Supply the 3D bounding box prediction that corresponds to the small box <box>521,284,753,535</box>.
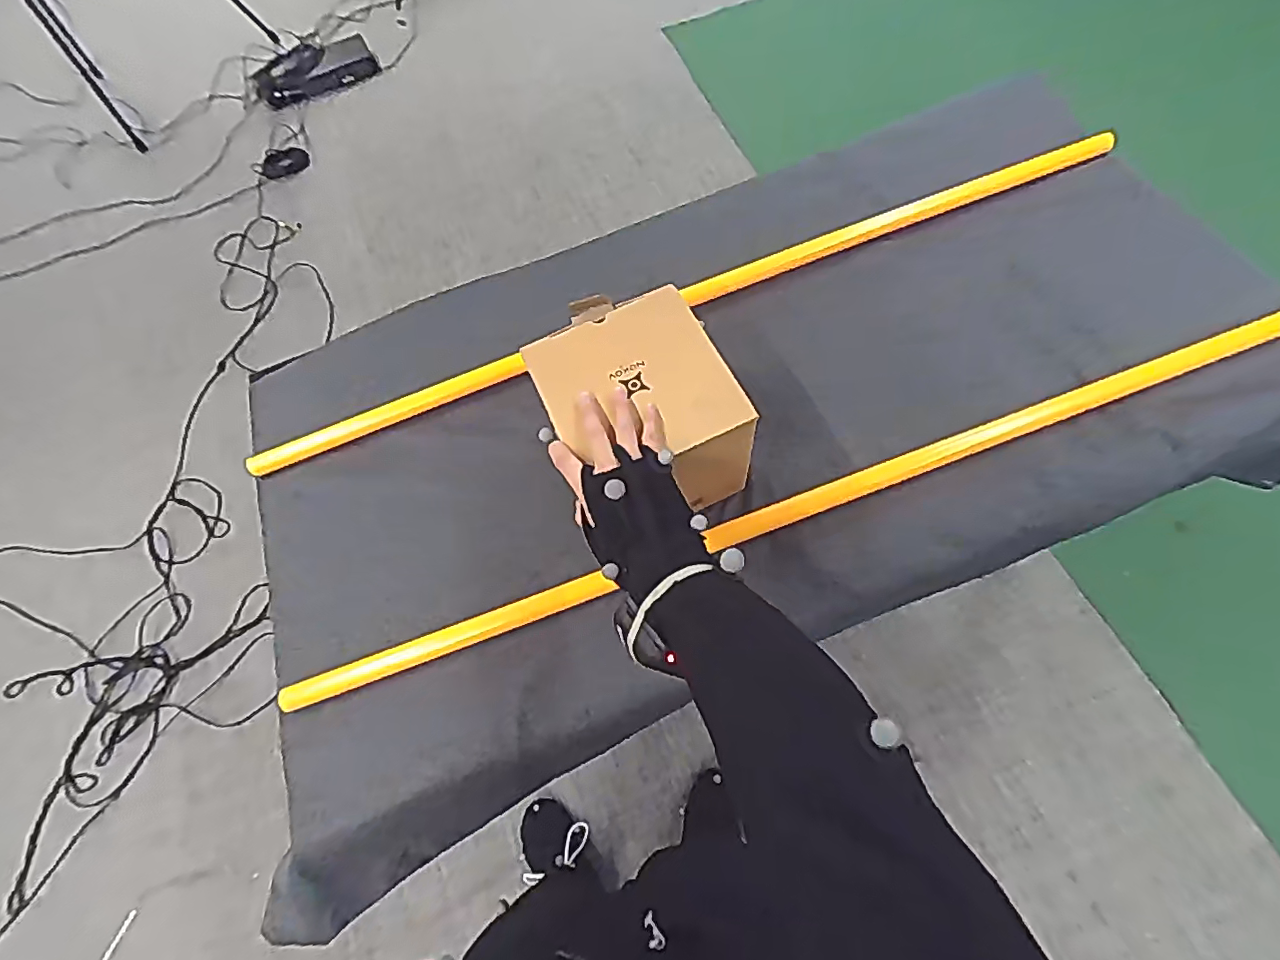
[{"bbox_3d":[0.002,-0.059,0.566,0.168,0.176,0.179,-25,65,-4],"label":"small box"}]
